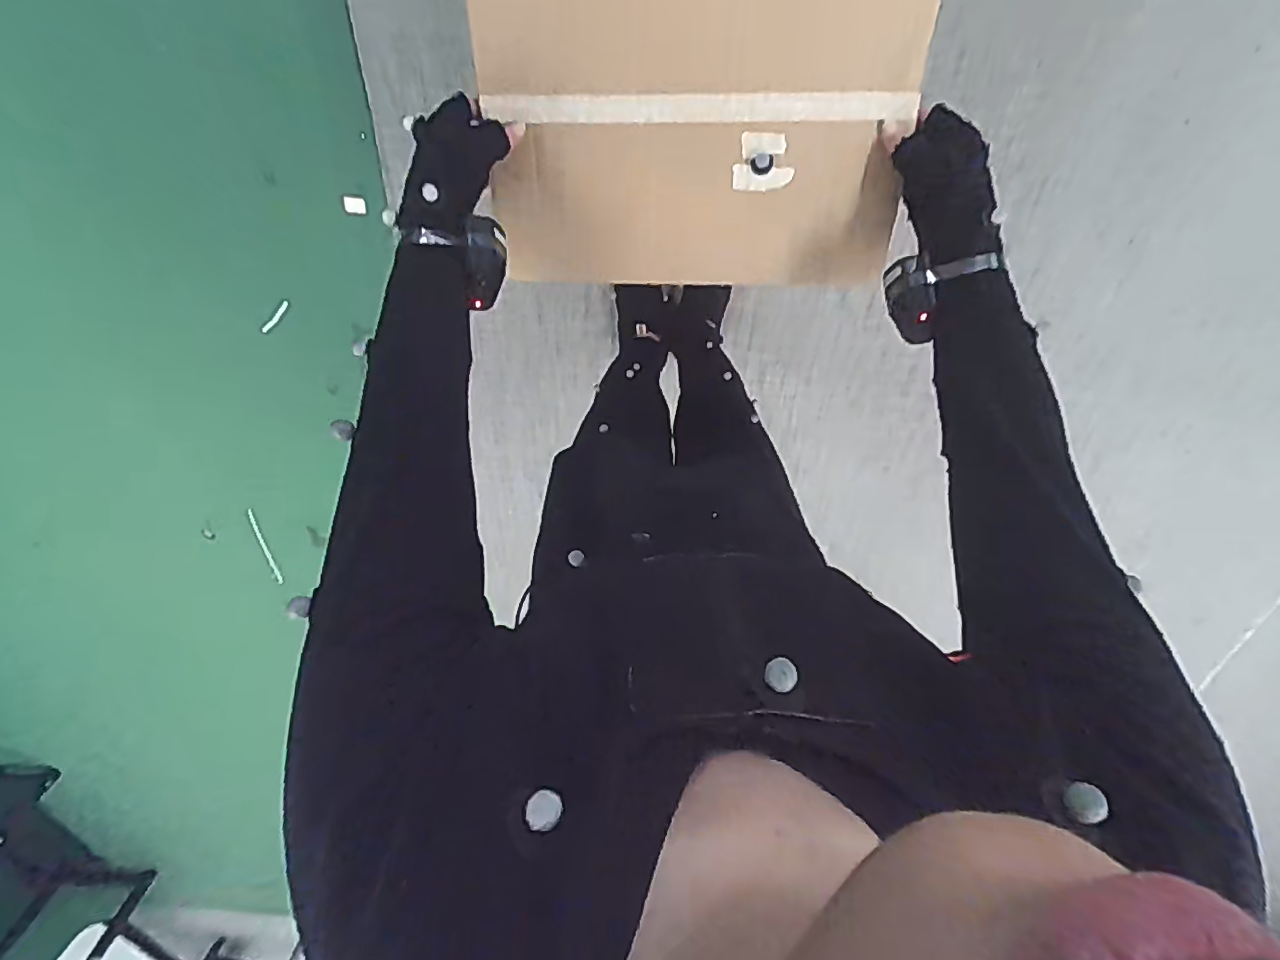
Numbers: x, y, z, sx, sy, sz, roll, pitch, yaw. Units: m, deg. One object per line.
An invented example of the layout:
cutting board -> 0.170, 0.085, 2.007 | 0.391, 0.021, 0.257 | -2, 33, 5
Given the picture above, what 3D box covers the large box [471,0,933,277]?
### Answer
large box -> 0.056, -0.418, 0.627 | 0.408, 0.320, 0.320 | 2, 118, 2
